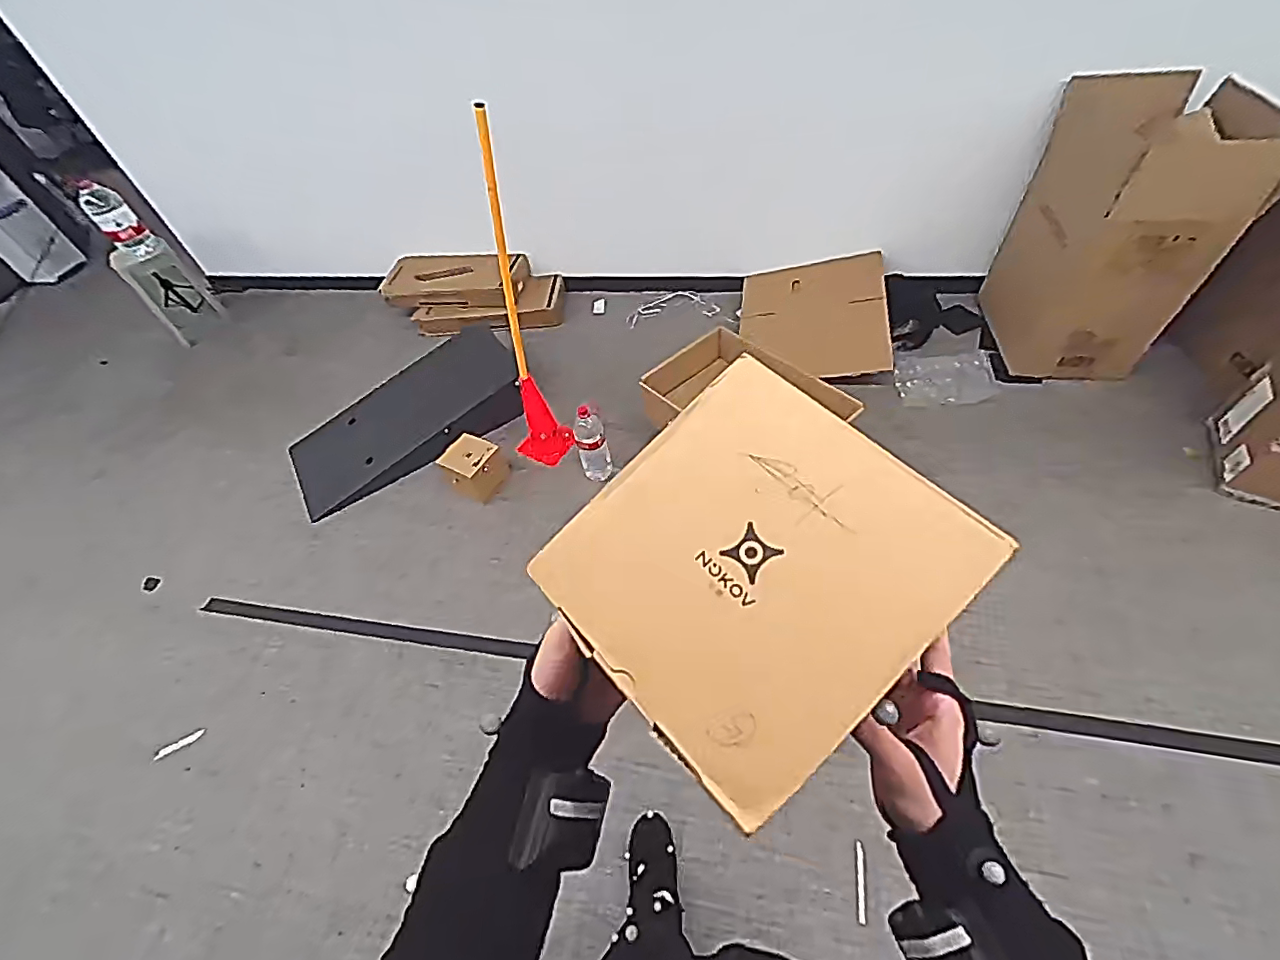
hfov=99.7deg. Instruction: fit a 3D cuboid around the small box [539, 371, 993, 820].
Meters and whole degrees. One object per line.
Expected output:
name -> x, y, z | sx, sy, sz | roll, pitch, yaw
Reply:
small box -> 0.073, 0.073, 0.351 | 0.179, 0.176, 0.168 | -44, 65, -7
